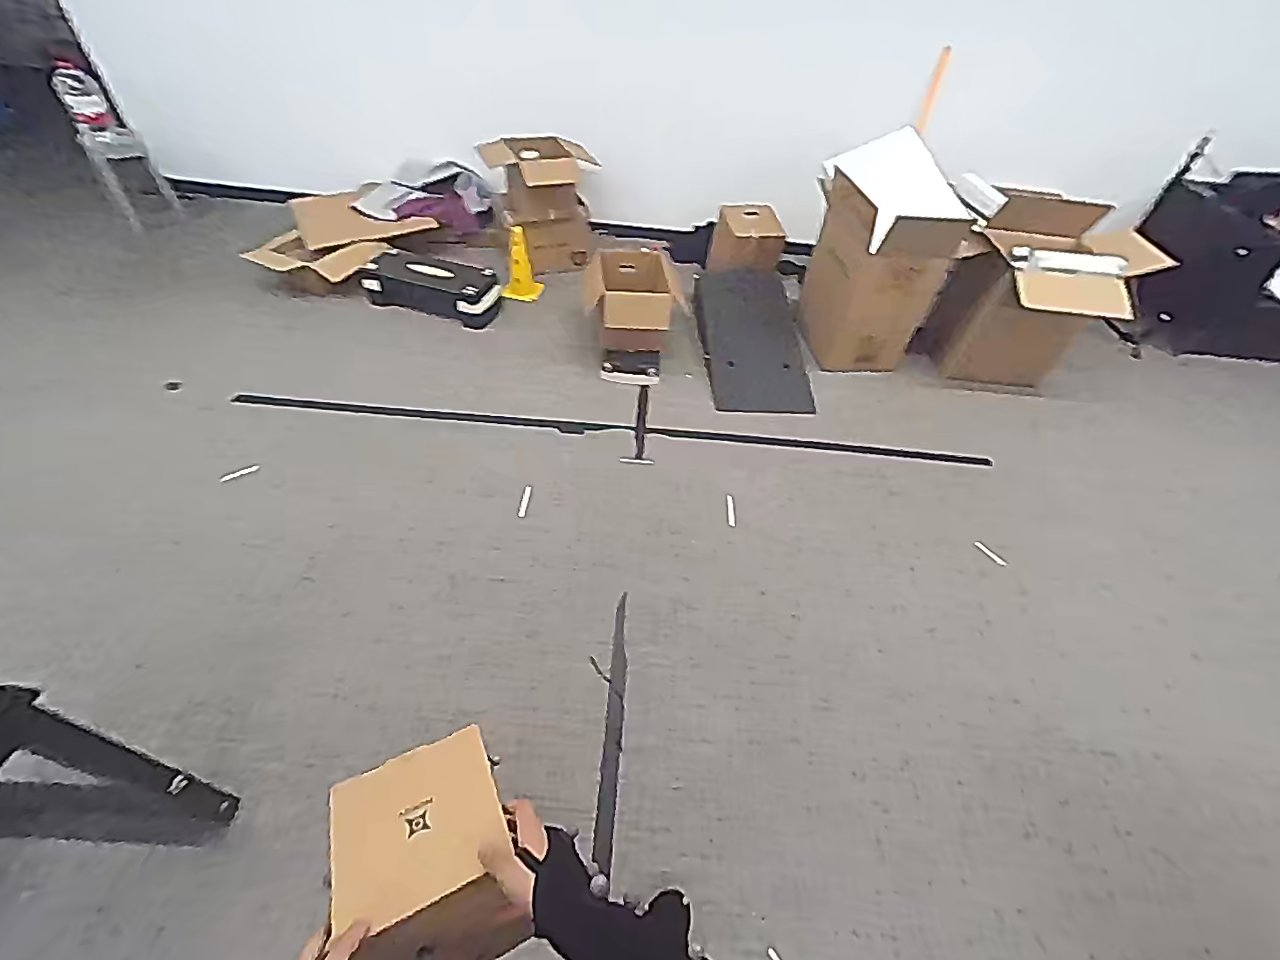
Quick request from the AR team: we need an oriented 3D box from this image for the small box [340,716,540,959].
[{"bbox_3d":[-0.221,0.416,0.606,0.168,0.176,0.179,-16,31,-22],"label":"small box"}]
